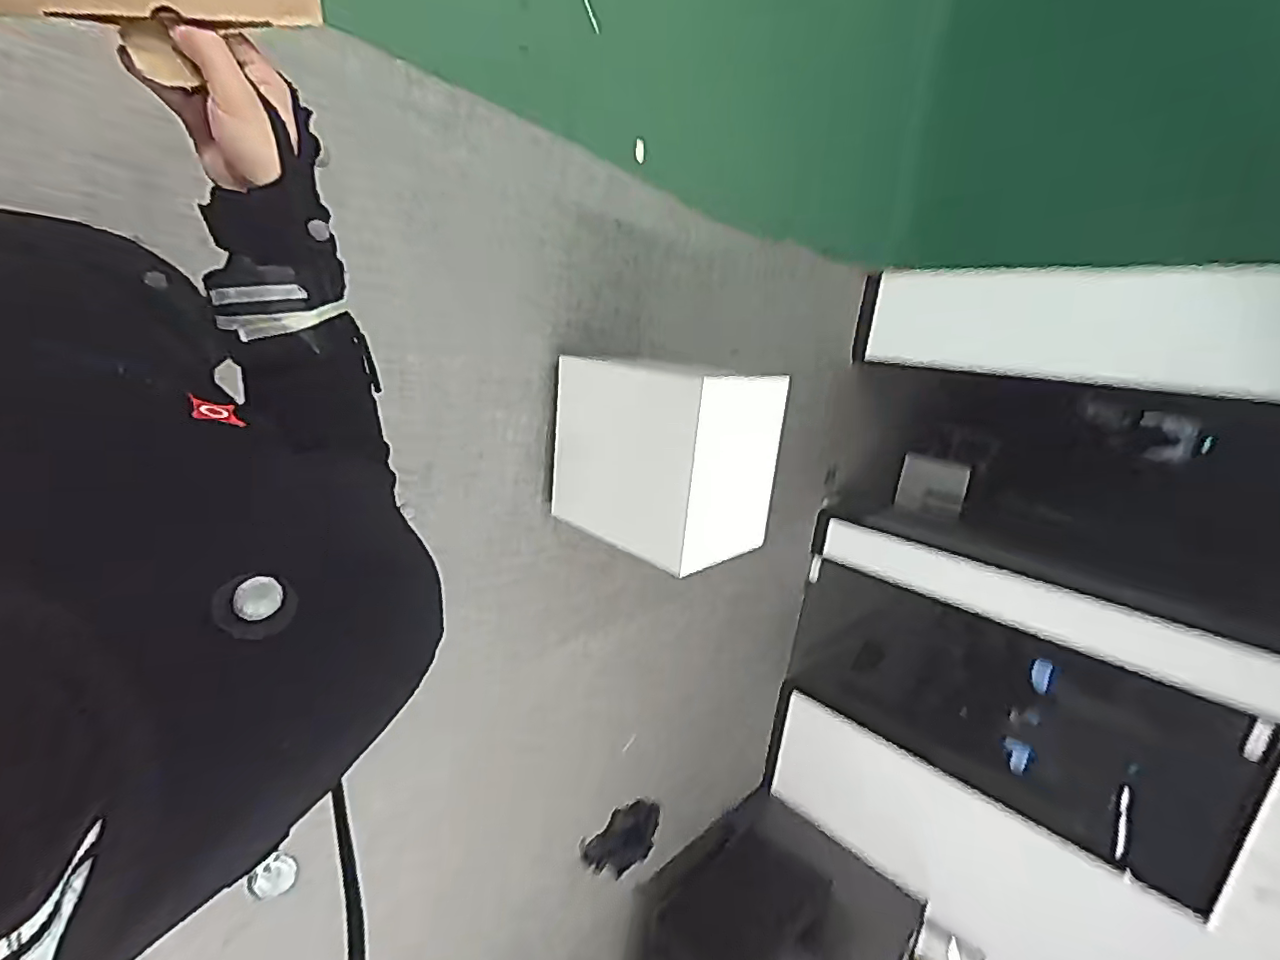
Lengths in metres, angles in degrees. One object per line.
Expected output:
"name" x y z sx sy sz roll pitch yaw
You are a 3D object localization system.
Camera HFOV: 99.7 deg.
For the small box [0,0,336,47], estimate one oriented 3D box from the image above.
"small box" -0.273 -0.350 0.252 0.168 0.176 0.179 -32 161 -37
